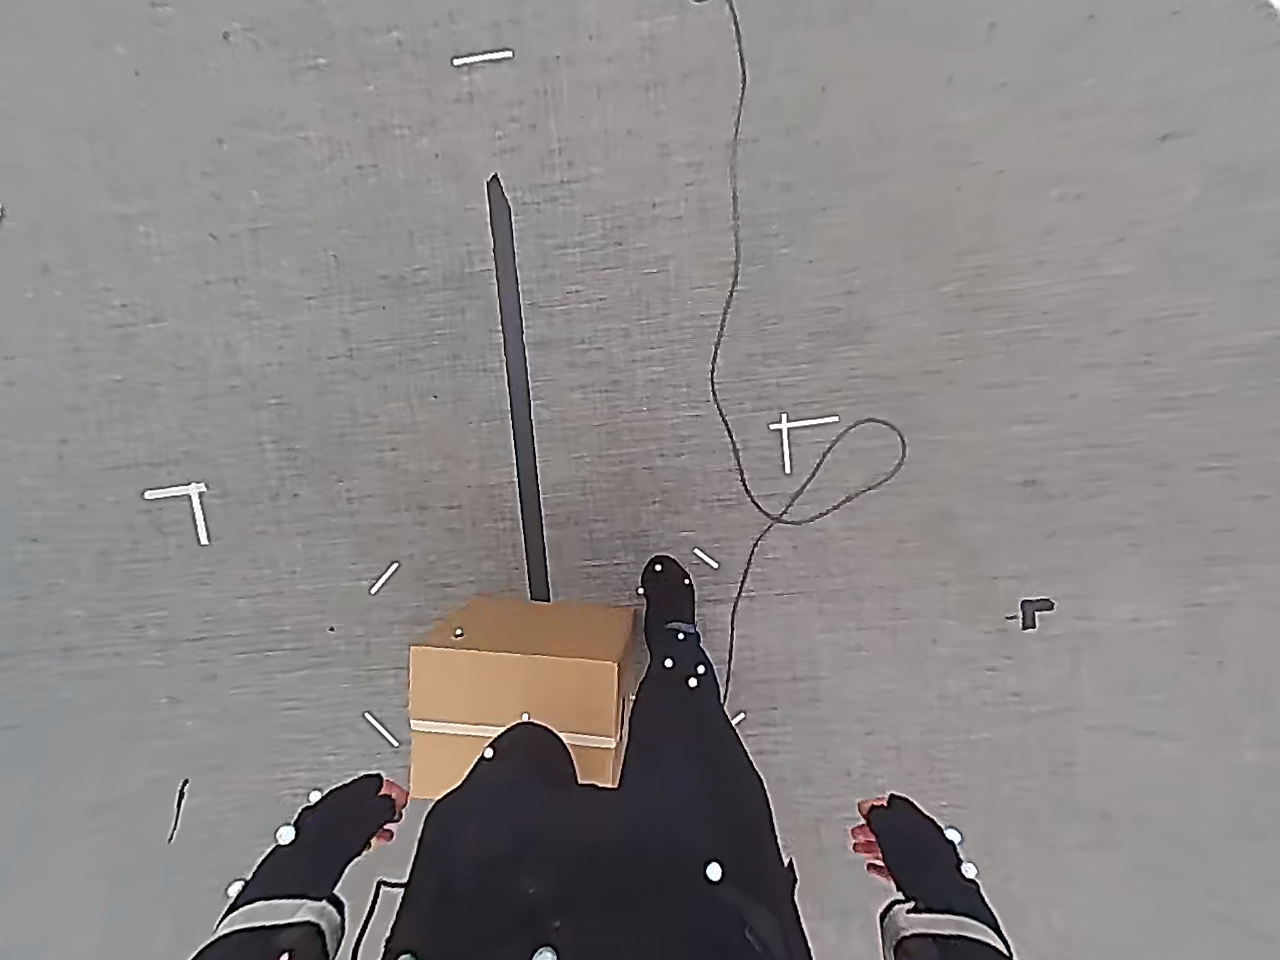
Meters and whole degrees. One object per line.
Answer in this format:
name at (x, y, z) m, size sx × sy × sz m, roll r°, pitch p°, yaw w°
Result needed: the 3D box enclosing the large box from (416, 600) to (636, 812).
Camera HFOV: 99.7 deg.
large box at (-0.225, 0.461, 1.178) m, size 0.408 × 0.320 × 0.320 m, roll 3°, pitch 96°, yaw 5°
